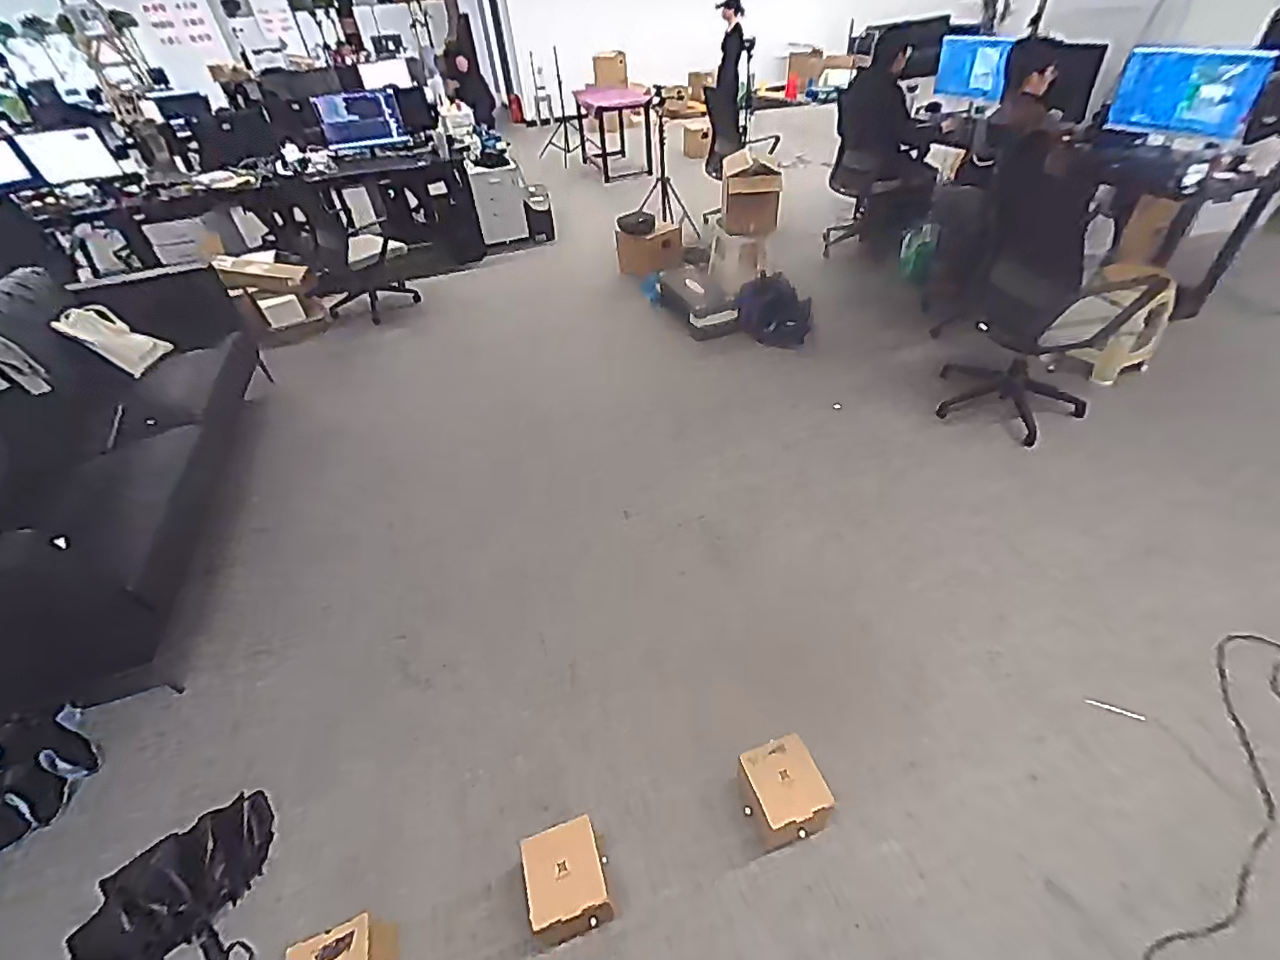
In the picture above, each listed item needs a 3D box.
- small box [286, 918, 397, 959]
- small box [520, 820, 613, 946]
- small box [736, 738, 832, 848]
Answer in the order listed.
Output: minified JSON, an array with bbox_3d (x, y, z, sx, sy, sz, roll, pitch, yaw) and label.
[{"bbox_3d":[-0.617,1.066,1.123,0.168,0.176,0.179,-18,43,-13],"label":"small box"},{"bbox_3d":[-0.166,0.928,1.239,0.168,0.176,0.179,-15,40,-13],"label":"small box"},{"bbox_3d":[0.351,0.784,1.345,0.168,0.176,0.179,-16,42,-11],"label":"small box"}]
